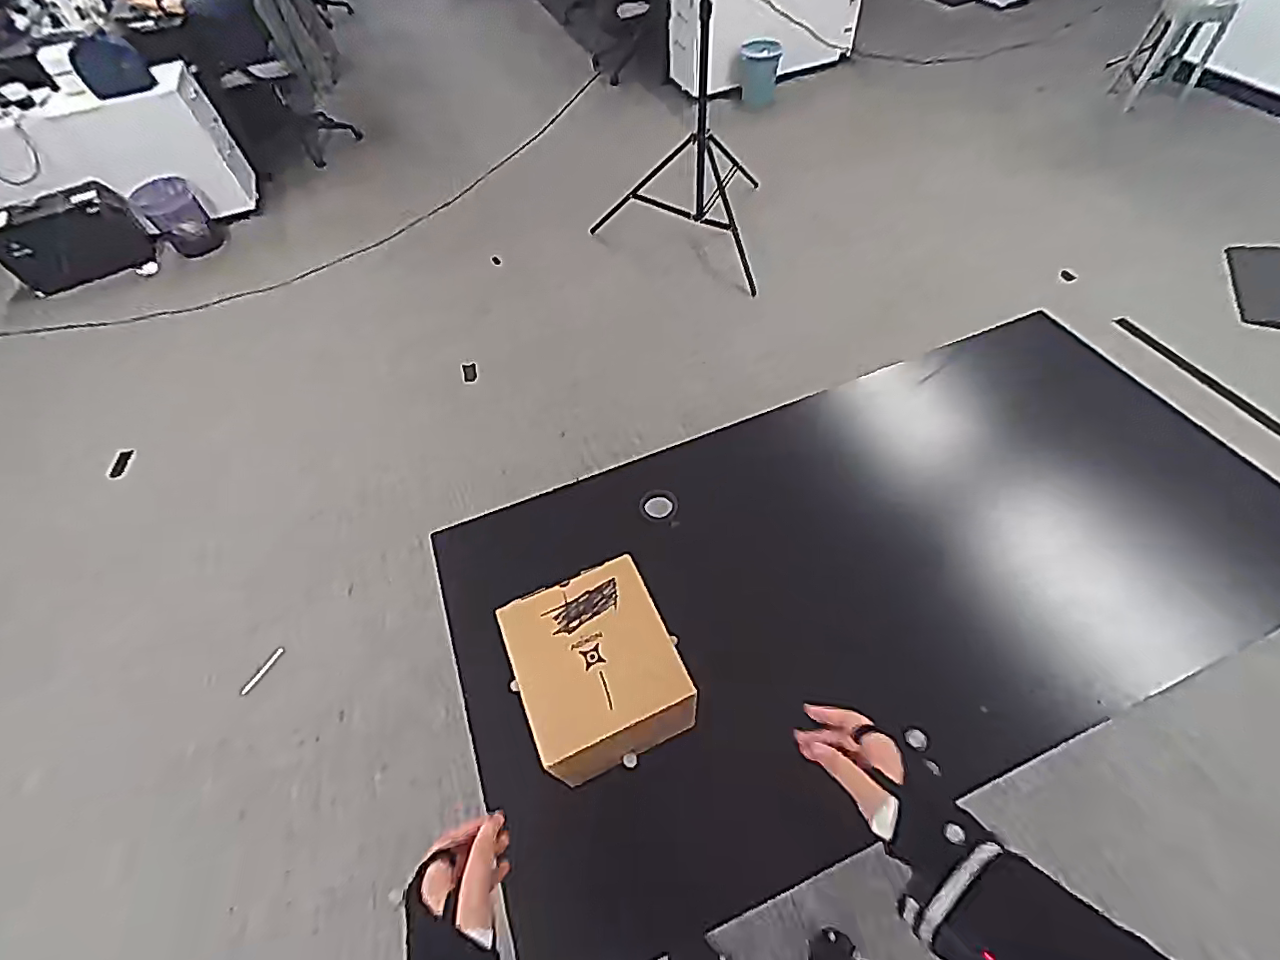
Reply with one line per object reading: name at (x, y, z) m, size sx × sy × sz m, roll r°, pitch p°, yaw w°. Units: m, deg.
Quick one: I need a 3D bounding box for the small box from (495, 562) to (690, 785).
small box at (-0.053, 0.233, 0.643) m, size 0.168 × 0.176 × 0.179 m, roll -22°, pitch 57°, yaw -10°
